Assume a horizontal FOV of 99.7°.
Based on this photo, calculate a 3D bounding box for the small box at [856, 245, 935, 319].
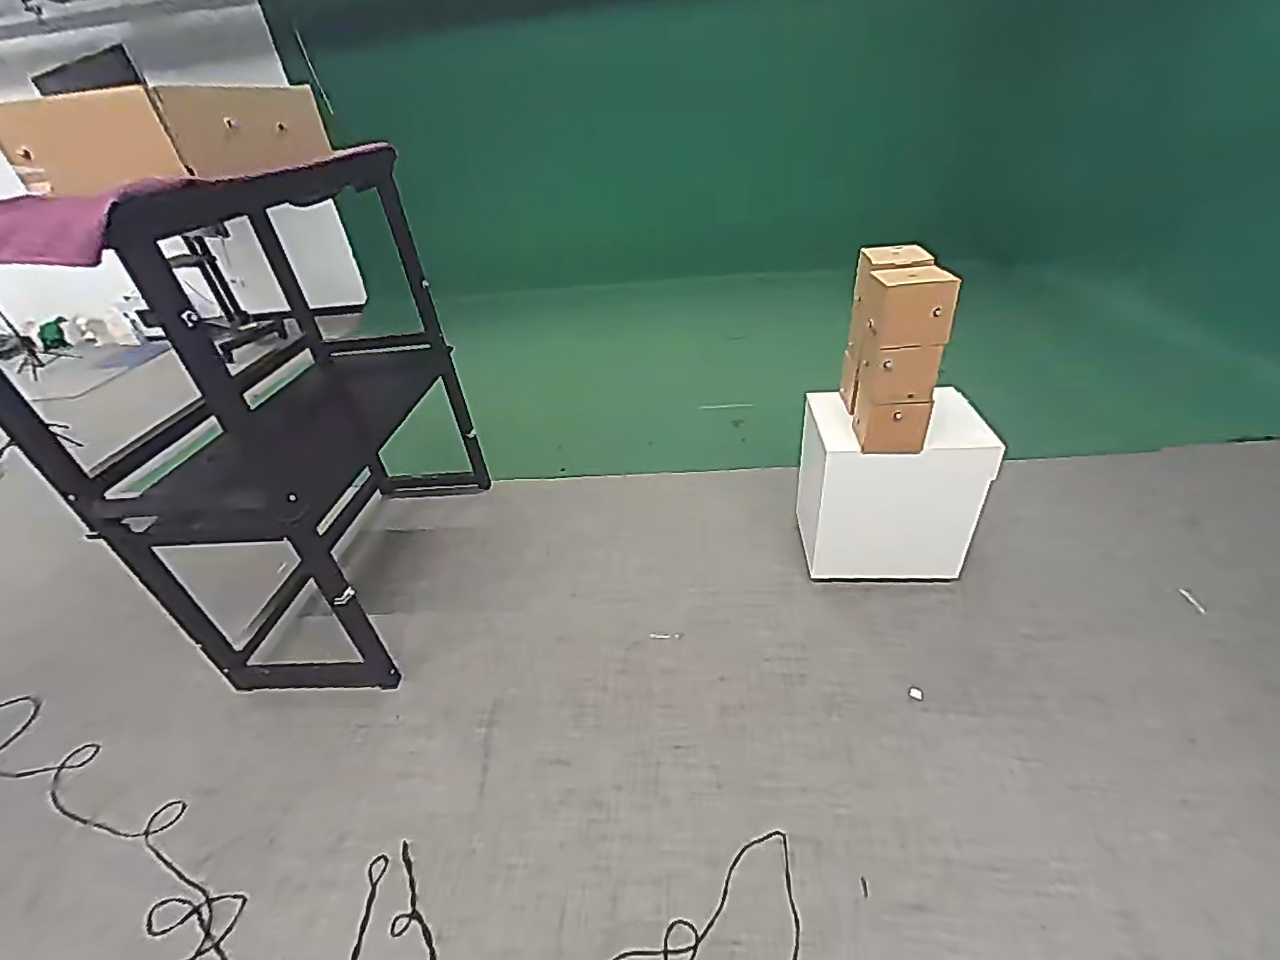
[{"bbox_3d":[0.760,-0.591,1.627,0.168,0.176,0.179,0,38,8],"label":"small box"}]

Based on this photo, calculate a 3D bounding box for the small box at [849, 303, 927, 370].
[{"bbox_3d":[0.783,-0.462,1.727,0.179,0.176,0.168,0,37,8],"label":"small box"}]

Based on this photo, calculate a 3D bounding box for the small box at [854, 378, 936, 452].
[{"bbox_3d":[0.767,-0.196,1.642,0.179,0.176,0.168,-1,35,9],"label":"small box"}]
